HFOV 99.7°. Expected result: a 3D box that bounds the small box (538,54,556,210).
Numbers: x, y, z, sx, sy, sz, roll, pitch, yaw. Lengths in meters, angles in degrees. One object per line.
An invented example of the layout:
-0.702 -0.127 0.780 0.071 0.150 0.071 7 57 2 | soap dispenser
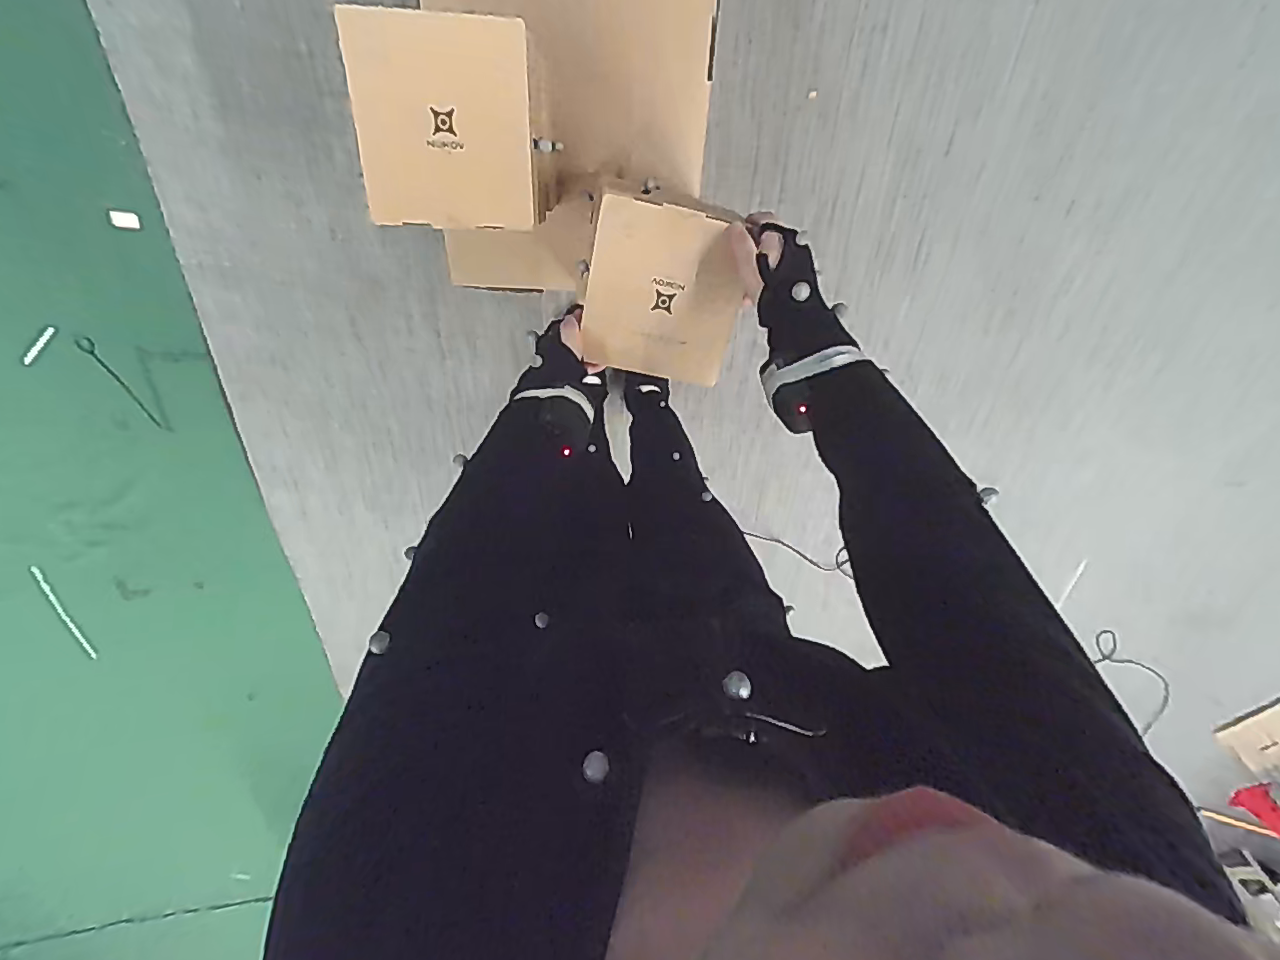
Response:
-0.204 -0.464 0.728 0.179 0.176 0.168 -1 119 -5 | small box

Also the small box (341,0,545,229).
-0.193 -0.381 0.587 0.168 0.176 0.179 1 121 -6 | small box

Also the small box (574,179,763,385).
0.023 -0.239 0.636 0.168 0.176 0.179 12 121 -8 | small box
